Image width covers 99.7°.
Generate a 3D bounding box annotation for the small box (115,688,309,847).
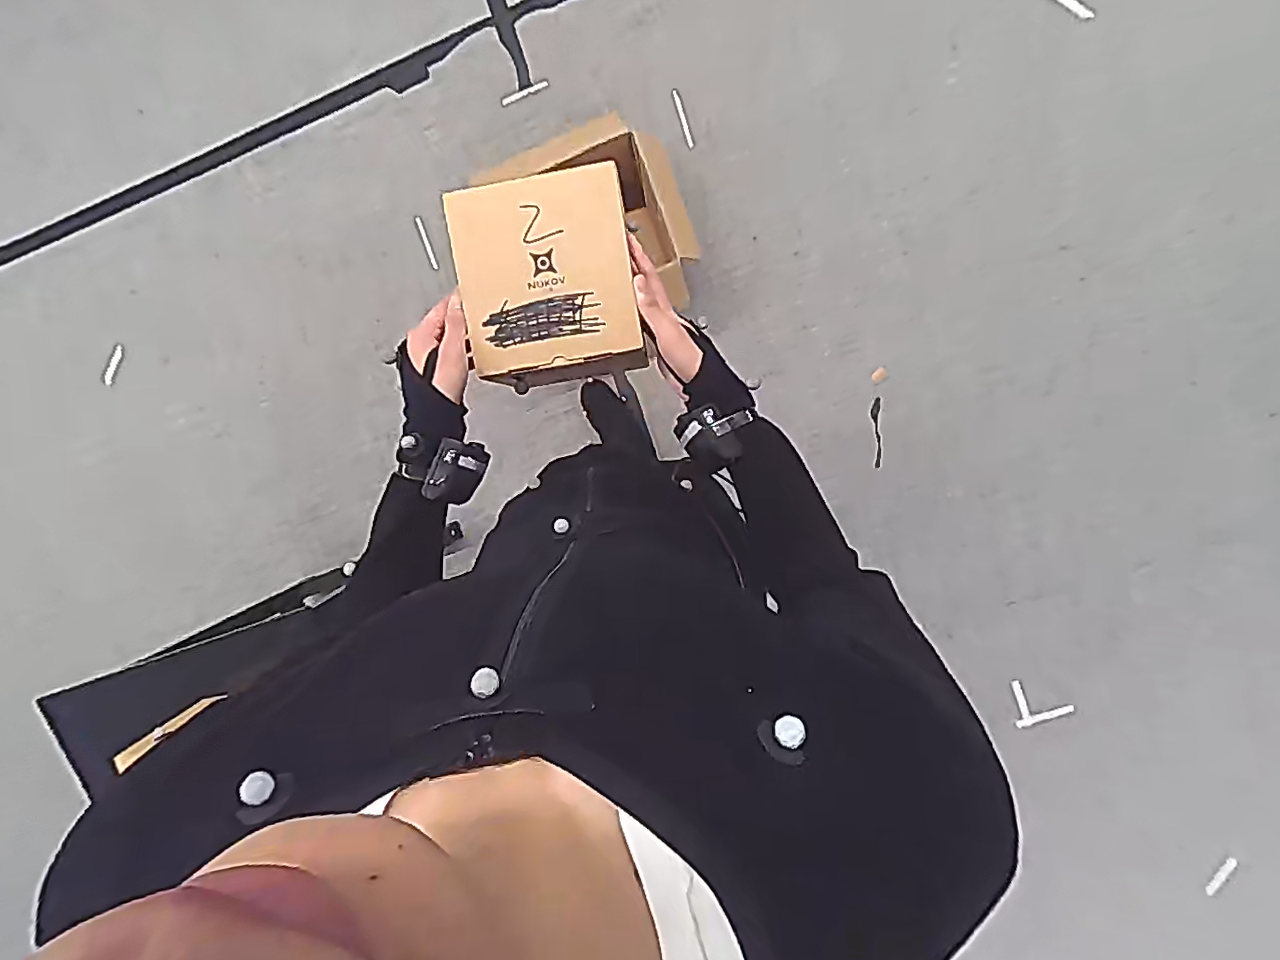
[{"bbox_3d":[-0.722,0.485,0.932,0.179,0.176,0.168,-12,99,6],"label":"small box"}]
